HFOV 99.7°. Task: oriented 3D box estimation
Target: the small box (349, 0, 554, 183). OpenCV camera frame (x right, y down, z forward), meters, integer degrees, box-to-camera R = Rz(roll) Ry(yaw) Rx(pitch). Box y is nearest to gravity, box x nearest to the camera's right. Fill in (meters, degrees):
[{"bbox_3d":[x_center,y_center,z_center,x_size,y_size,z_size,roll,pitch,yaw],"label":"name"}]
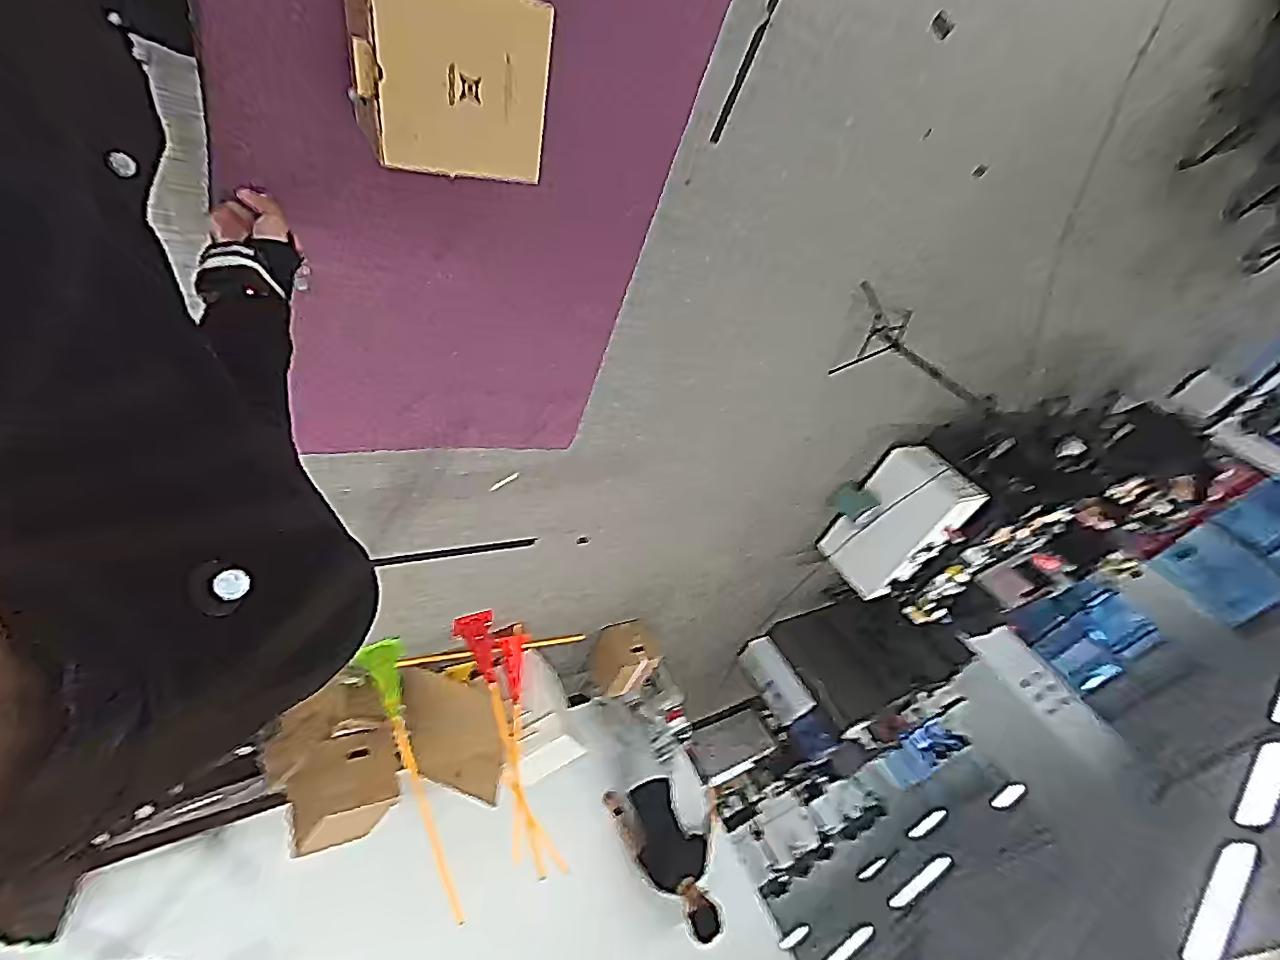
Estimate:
[{"bbox_3d":[-0.217,-0.457,0.603,0.179,0.176,0.168,-12,139,-30],"label":"small box"}]
